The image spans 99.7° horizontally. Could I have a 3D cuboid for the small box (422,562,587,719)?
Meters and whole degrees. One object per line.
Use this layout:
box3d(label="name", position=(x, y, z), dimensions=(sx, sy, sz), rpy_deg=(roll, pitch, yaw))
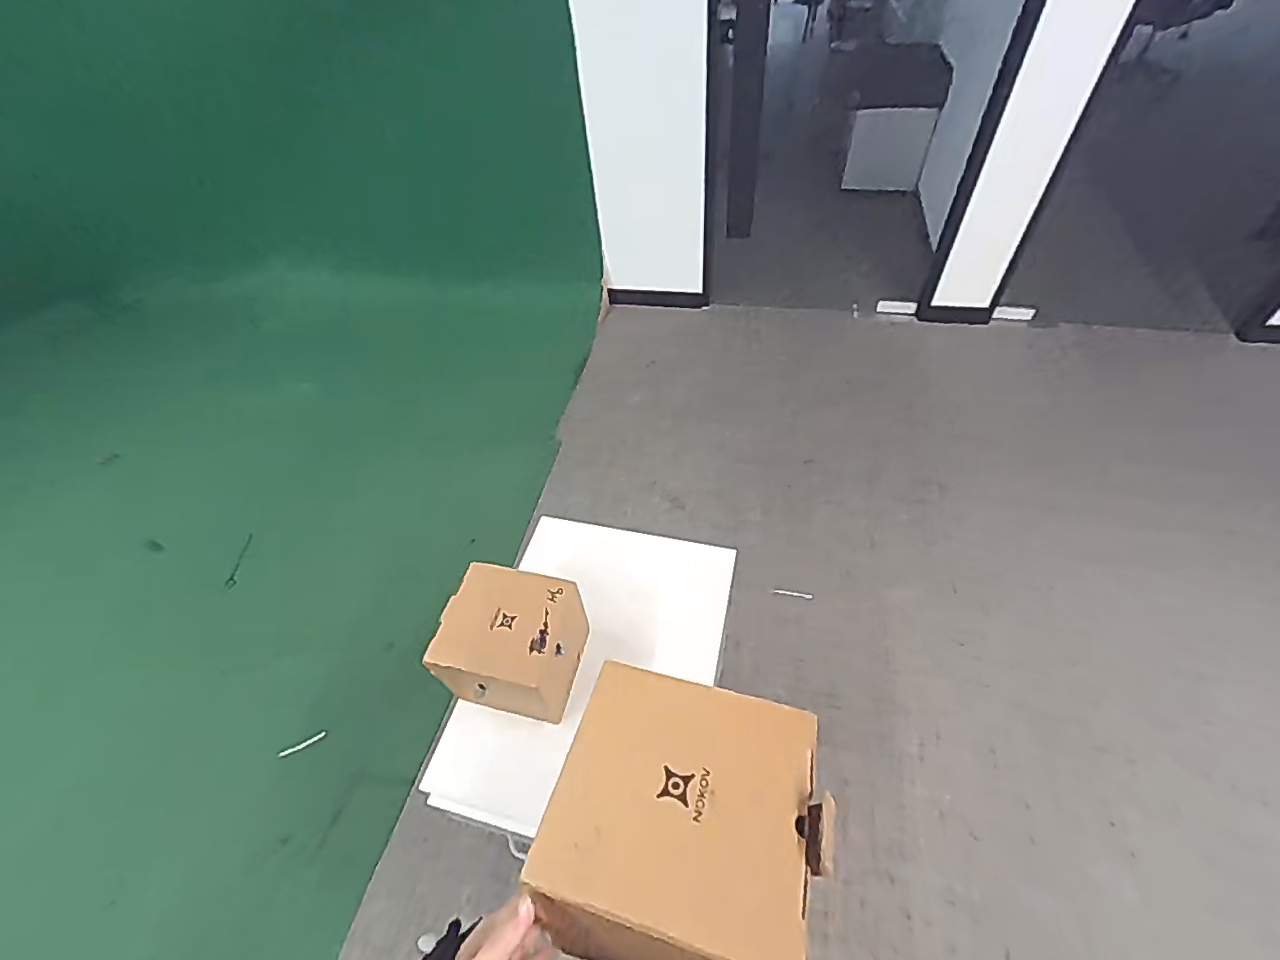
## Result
box3d(label="small box", position=(-0.195, 0.251, 0.838), dimensions=(0.179, 0.176, 0.168), rpy_deg=(9, 53, 11))

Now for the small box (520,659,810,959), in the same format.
box3d(label="small box", position=(0.030, 0.277, 0.432), dimensions=(0.179, 0.176, 0.168), rpy_deg=(9, 40, 14))
